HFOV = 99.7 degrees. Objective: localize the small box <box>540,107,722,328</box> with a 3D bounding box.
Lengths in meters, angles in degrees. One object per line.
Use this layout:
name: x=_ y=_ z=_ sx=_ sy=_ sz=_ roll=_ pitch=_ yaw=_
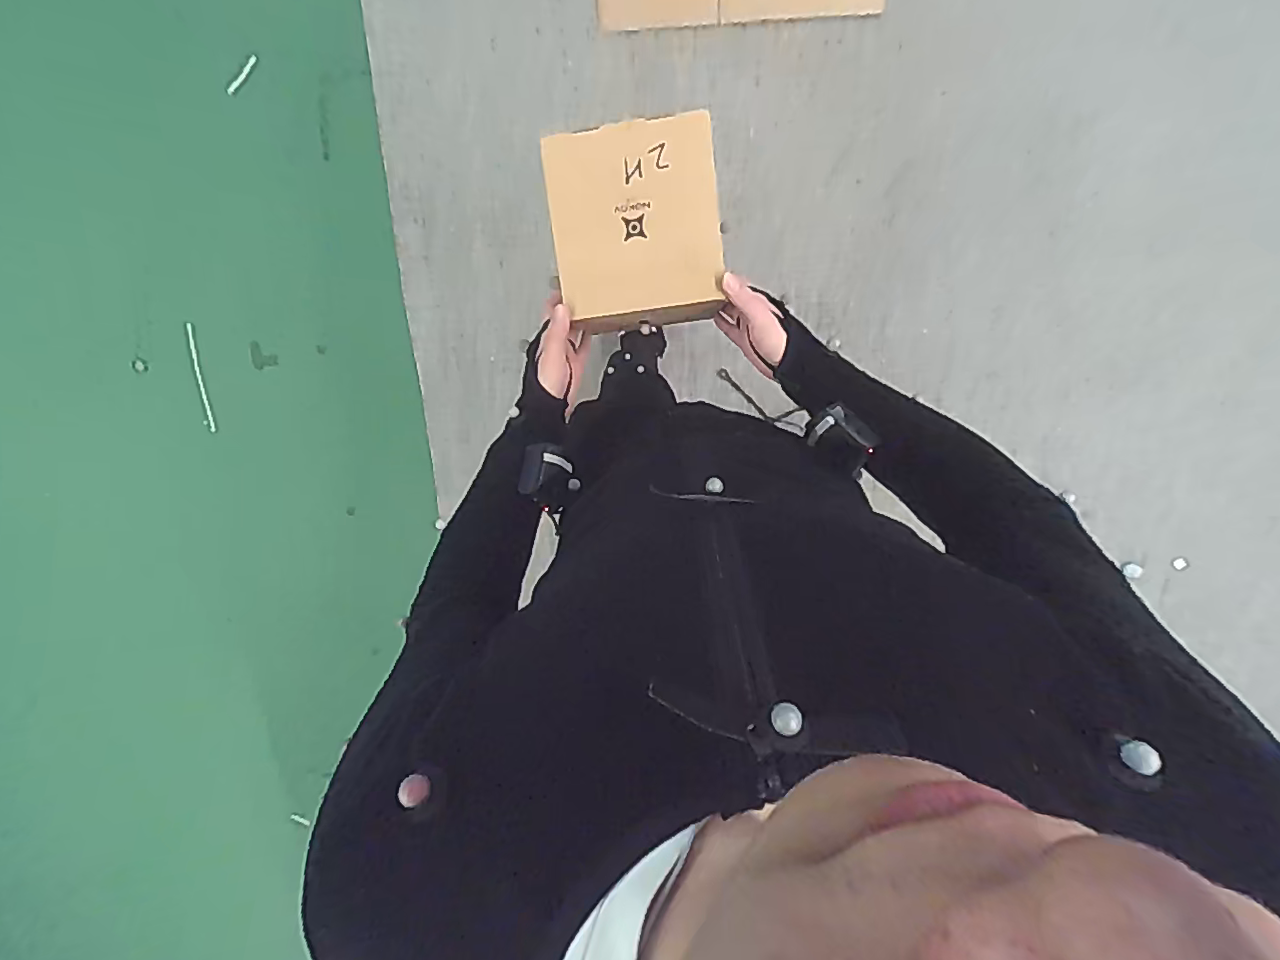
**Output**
small box: x=-0.002 y=-0.269 z=0.600 sx=0.168 sy=0.176 sz=0.179 roll=-6 pitch=99 yaw=4
